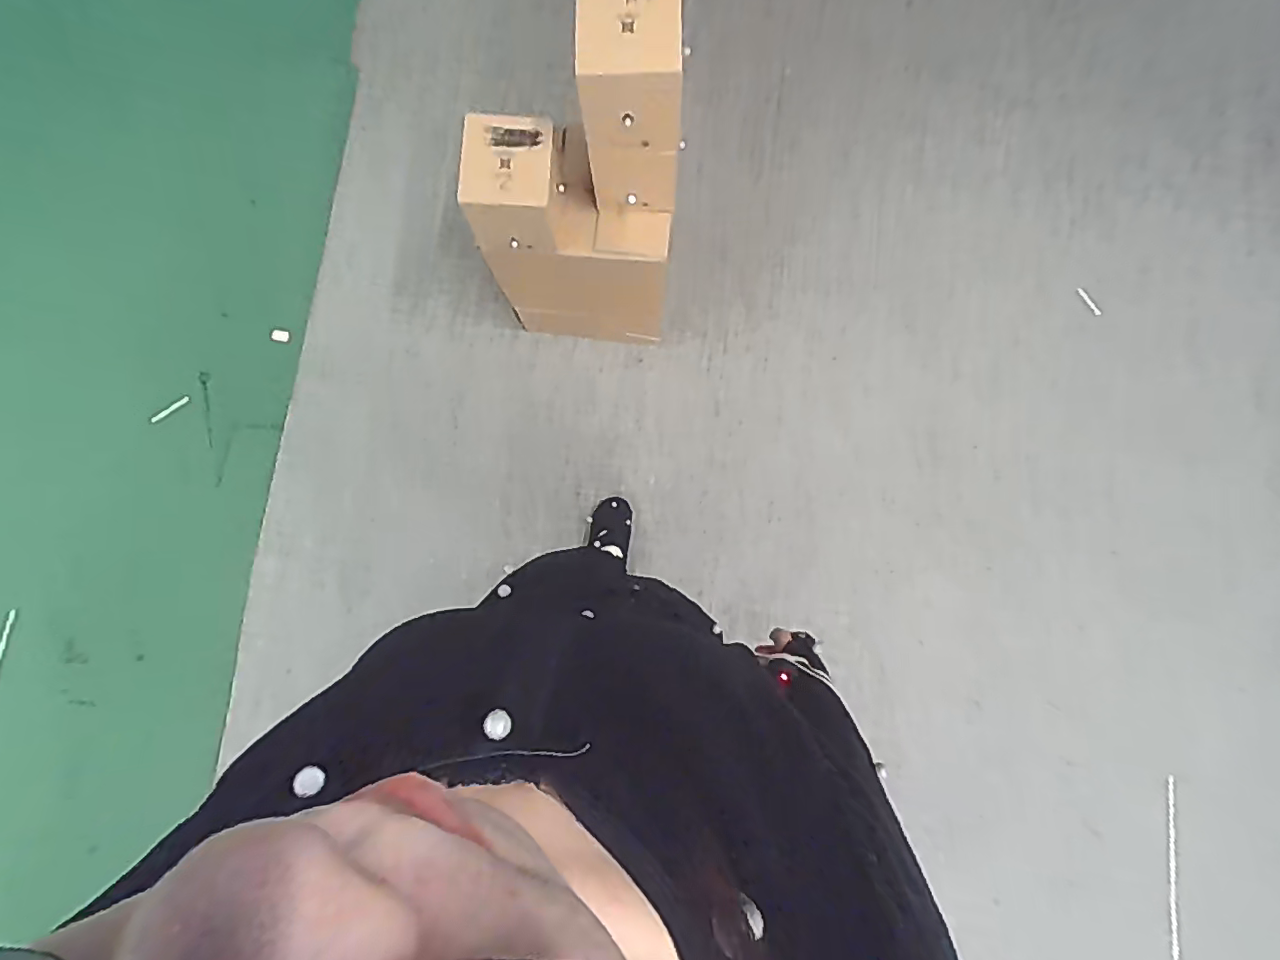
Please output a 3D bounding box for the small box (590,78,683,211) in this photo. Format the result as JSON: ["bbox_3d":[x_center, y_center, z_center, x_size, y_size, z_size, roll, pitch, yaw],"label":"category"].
[{"bbox_3d":[-0.005,-0.671,1.081,0.168,0.176,0.179,3,84,3],"label":"small box"}]

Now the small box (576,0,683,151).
[{"bbox_3d":[-0.012,-0.692,0.917,0.168,0.176,0.179,1,82,2],"label":"small box"}]
